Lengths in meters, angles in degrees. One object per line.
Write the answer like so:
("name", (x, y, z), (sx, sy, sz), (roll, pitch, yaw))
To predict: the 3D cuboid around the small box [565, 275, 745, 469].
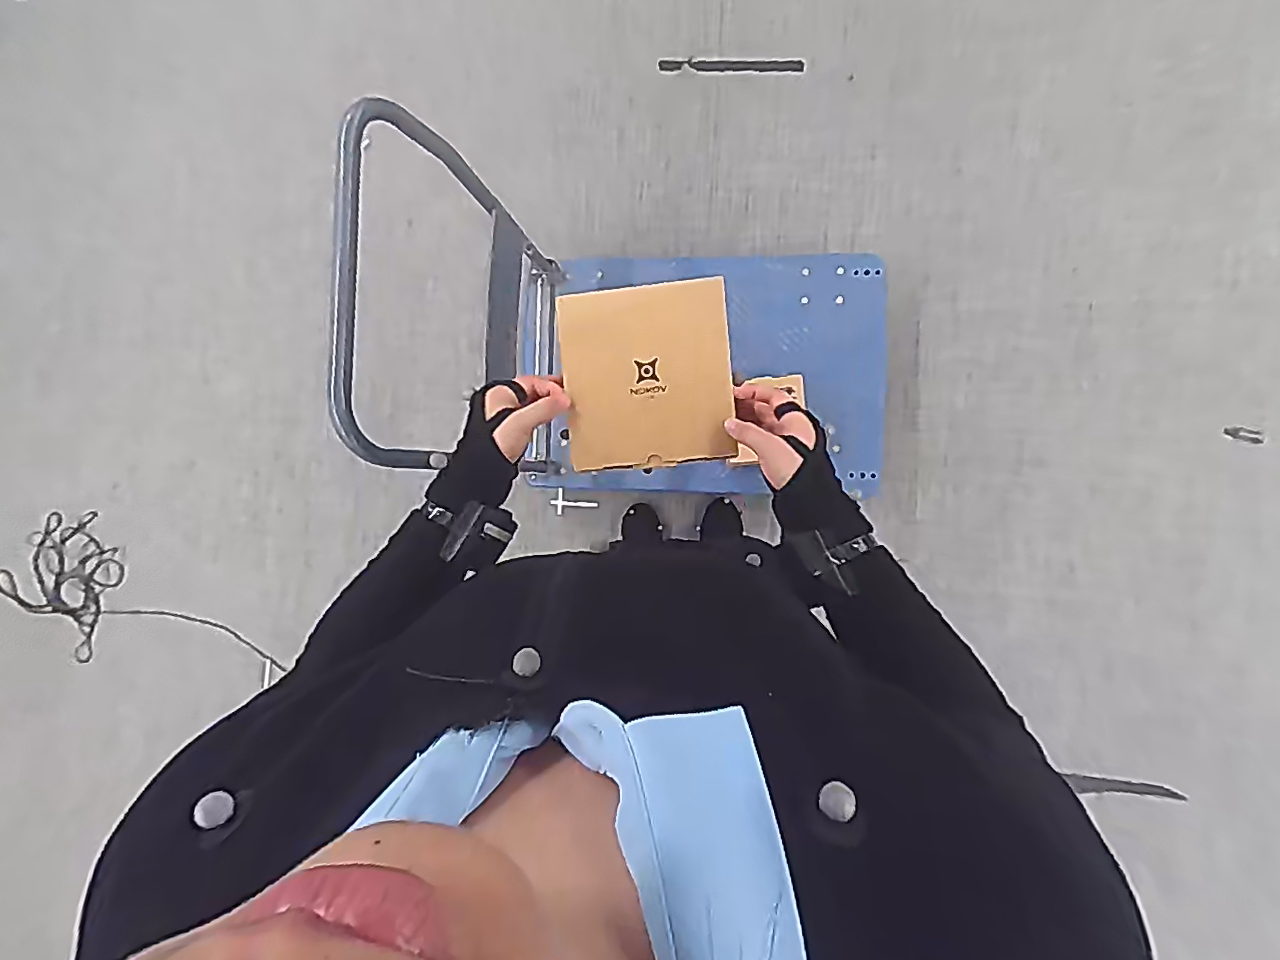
("small box", (0.017, -0.107, 0.597), (0.168, 0.176, 0.179), (-5, 94, 3))
